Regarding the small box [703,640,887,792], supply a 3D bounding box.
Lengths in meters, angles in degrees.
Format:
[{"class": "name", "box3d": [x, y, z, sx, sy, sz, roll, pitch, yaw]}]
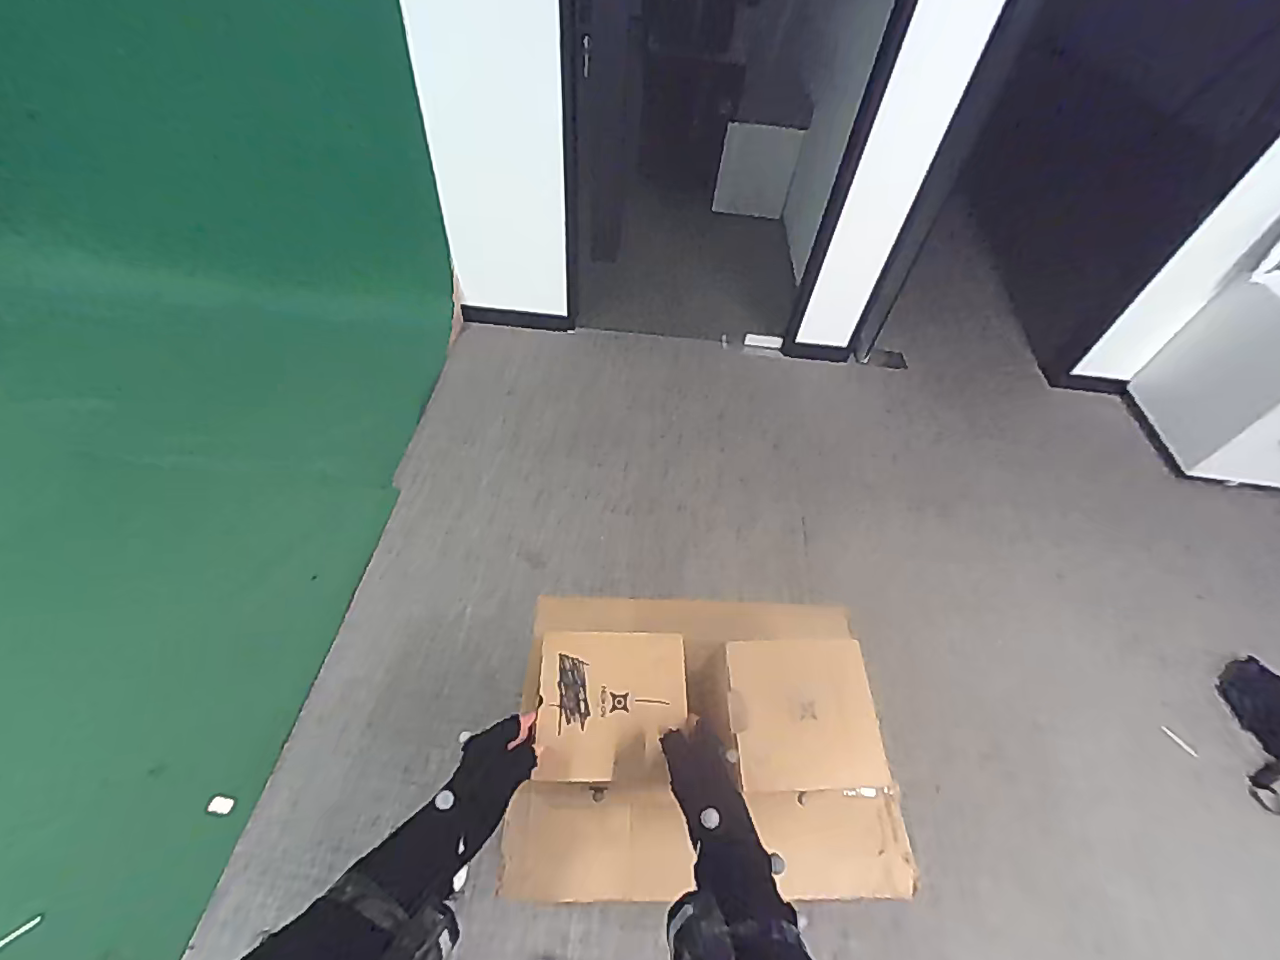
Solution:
[{"class": "small box", "box3d": [0.184, 0.313, 0.711, 0.179, 0.176, 0.168, 1, 61, -7]}]

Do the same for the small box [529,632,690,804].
[{"class": "small box", "box3d": [-0.038, 0.305, 0.685, 0.179, 0.176, 0.168, 2, 52, -4]}]
